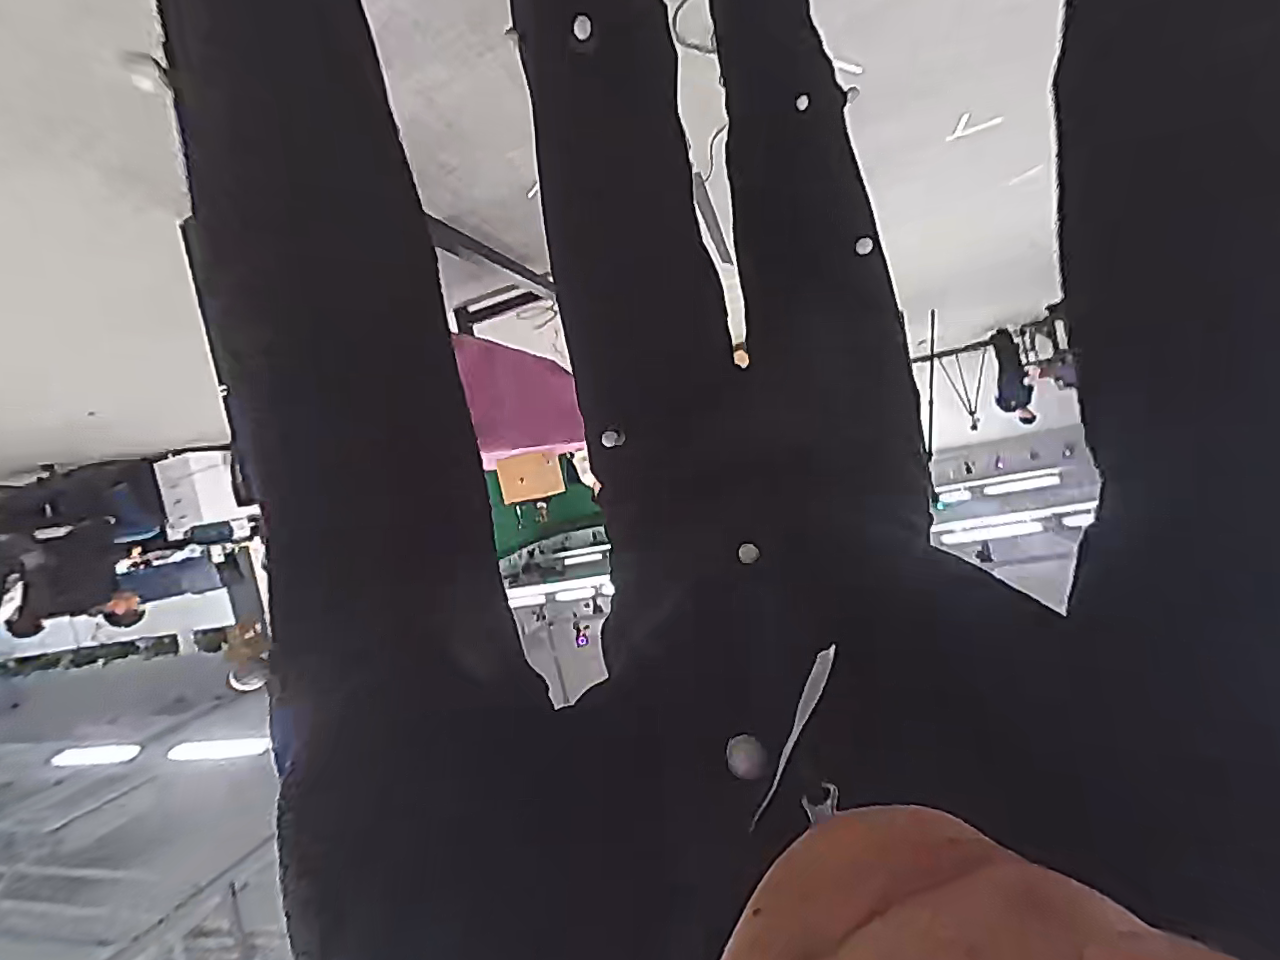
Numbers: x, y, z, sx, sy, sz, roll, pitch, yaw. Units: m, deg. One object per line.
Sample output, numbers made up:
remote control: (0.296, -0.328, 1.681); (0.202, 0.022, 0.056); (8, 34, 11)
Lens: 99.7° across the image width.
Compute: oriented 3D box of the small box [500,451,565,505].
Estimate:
small box: (-0.414, -0.011, 2.061); (0.179, 0.176, 0.168); (-13, -178, 22)
